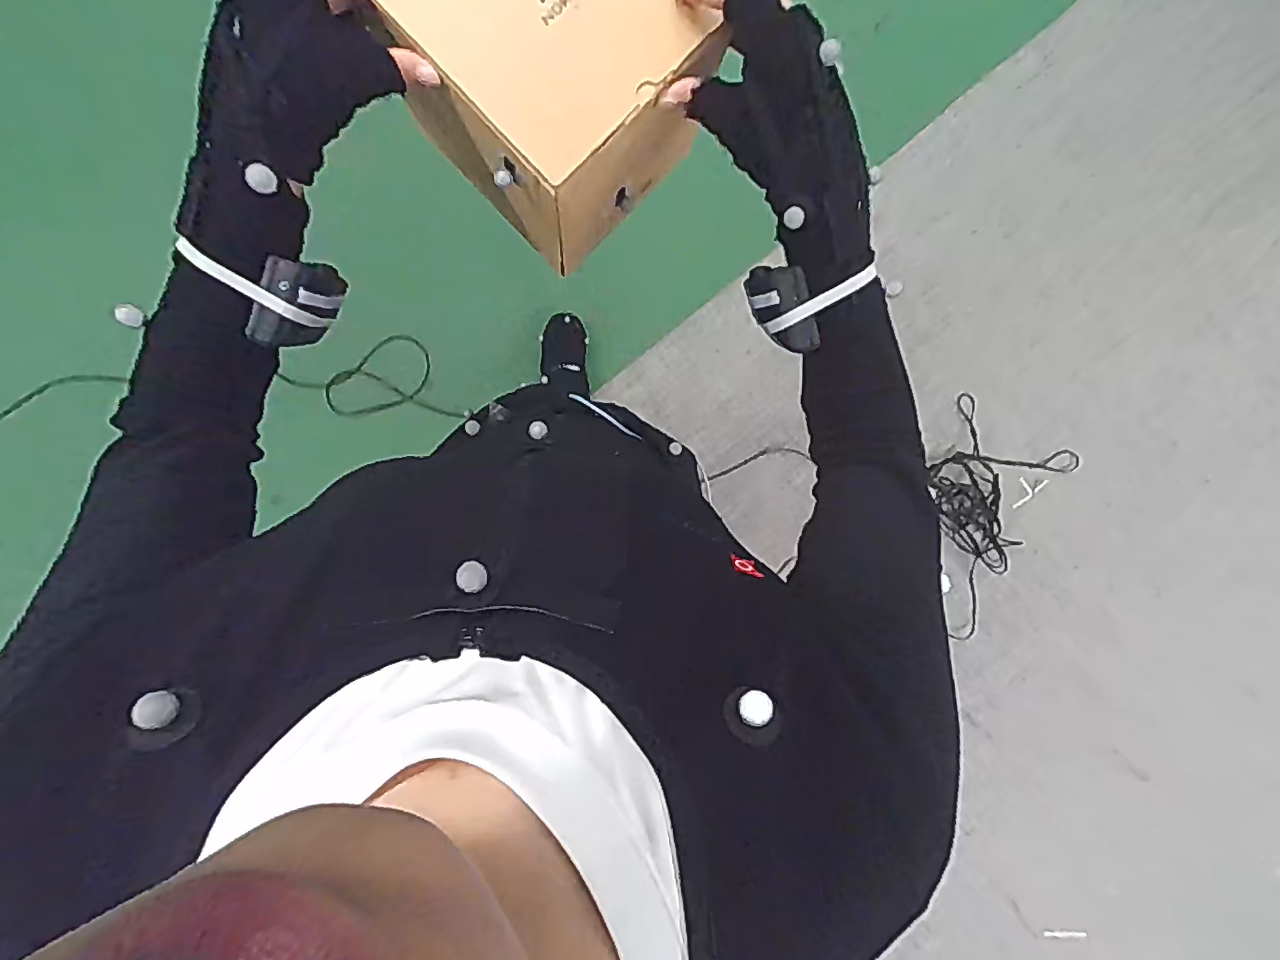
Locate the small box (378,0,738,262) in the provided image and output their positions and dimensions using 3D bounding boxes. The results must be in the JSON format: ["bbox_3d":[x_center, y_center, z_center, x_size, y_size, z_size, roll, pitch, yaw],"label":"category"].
[{"bbox_3d":[-0.063,-0.303,0.409,0.168,0.176,0.179,-45,98,-2],"label":"small box"}]
